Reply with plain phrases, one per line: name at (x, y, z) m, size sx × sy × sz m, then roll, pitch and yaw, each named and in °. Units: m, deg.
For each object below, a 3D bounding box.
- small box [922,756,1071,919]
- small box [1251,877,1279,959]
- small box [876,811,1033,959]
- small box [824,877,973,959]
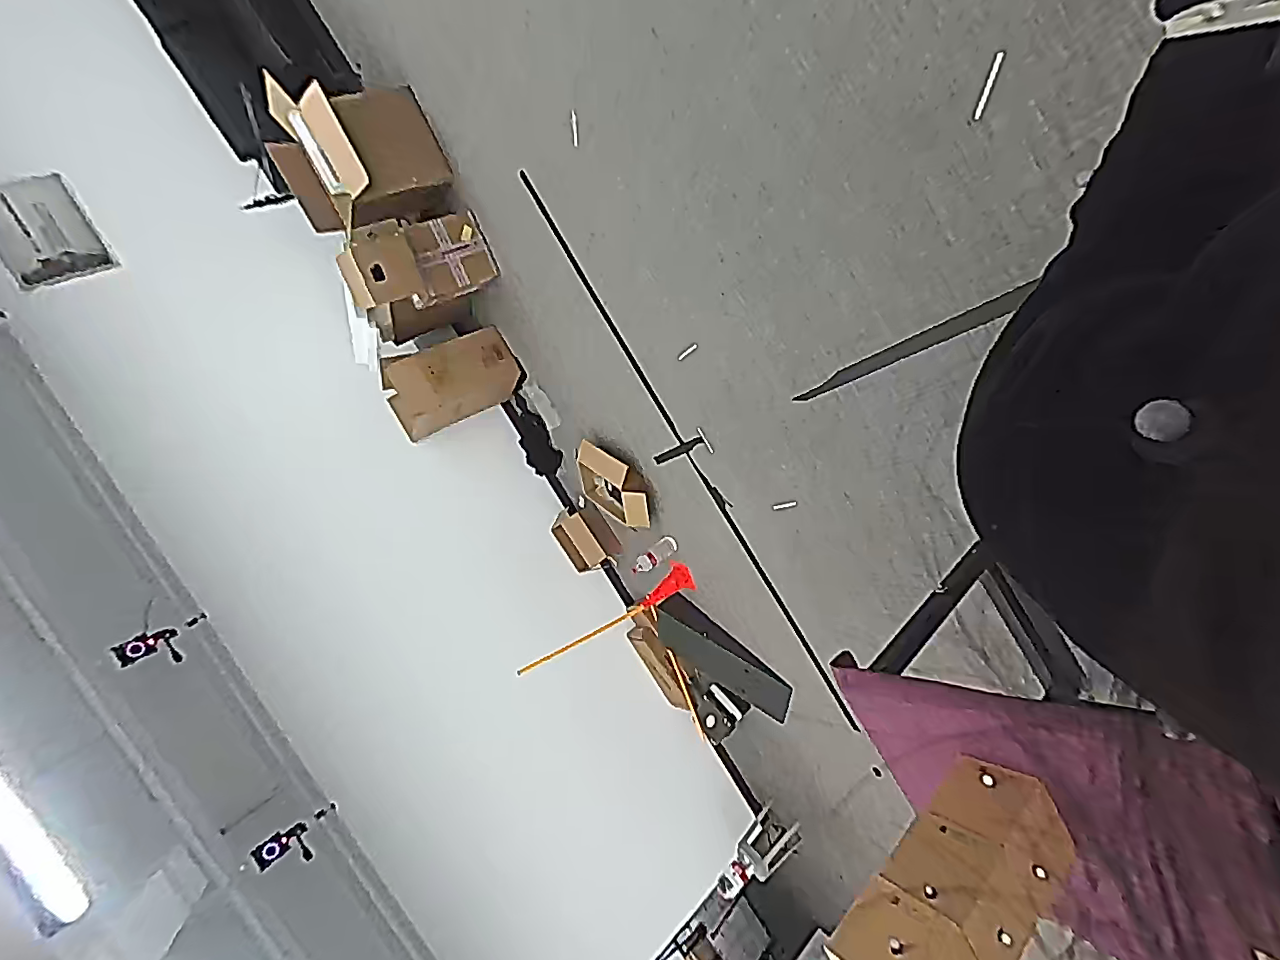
small box at (0.713, 0.698, 1.079) m, size 0.179 × 0.176 × 0.168 m, roll 61°, pitch 153°, yaw -6°
small box at (0.909, 0.613, 0.652) m, size 0.168 × 0.176 × 0.179 m, roll 60°, pitch 153°, yaw -7°
small box at (0.587, 0.773, 1.006) m, size 0.179 × 0.176 × 0.168 m, roll 61°, pitch 153°, yaw -9°
small box at (0.461, 0.847, 0.933) m, size 0.179 × 0.176 × 0.168 m, roll 61°, pitch 153°, yaw -8°
